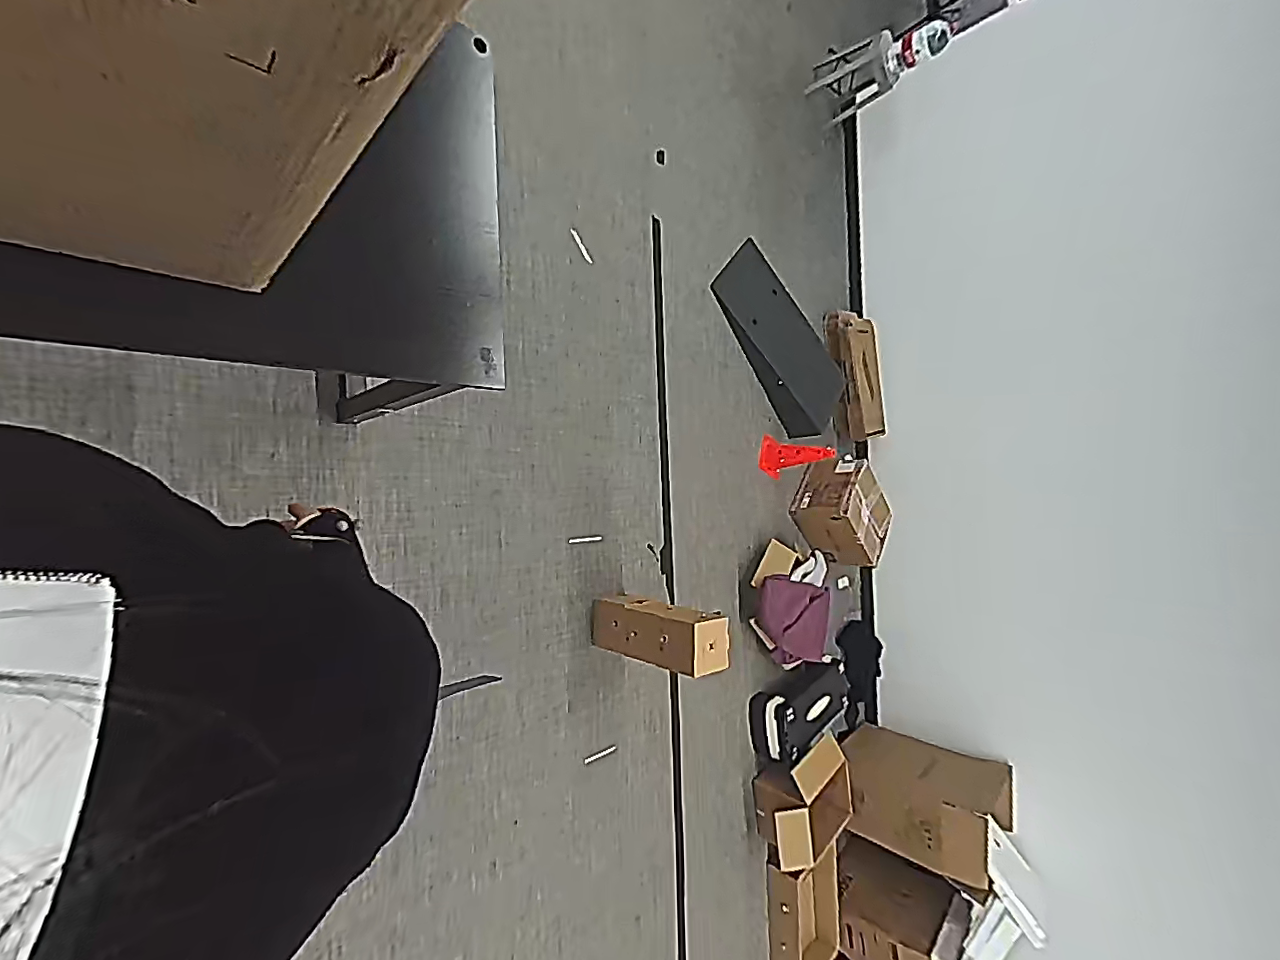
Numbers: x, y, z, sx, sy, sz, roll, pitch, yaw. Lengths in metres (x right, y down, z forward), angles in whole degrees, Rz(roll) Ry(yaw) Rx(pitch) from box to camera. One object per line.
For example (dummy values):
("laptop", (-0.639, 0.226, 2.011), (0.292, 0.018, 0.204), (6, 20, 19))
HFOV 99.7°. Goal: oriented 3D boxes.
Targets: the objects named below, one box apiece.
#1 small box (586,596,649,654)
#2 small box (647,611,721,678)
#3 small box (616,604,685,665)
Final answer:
("small box", (-0.083, 0.525, 1.987), (0.168, 0.176, 0.179), (5, 86, -45))
("small box", (0.144, 0.525, 1.751), (0.179, 0.176, 0.168), (4, 85, -44))
("small box", (0.037, 0.528, 1.875), (0.179, 0.176, 0.168), (4, 85, -45))
